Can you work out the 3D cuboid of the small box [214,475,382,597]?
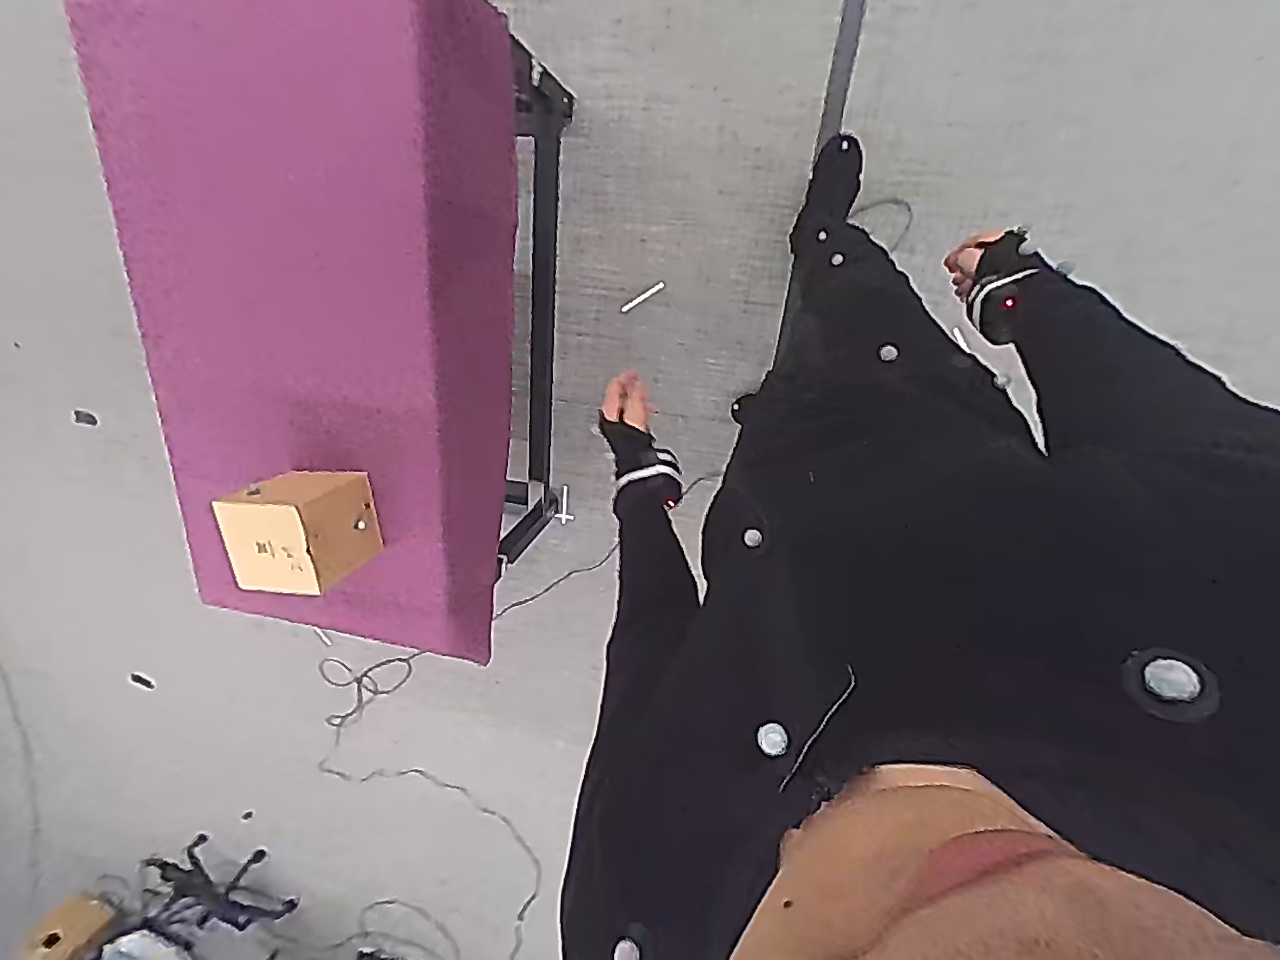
[{"bbox_3d":[-0.610,0.094,0.984,0.179,0.176,0.168,1,109,12],"label":"small box"}]
